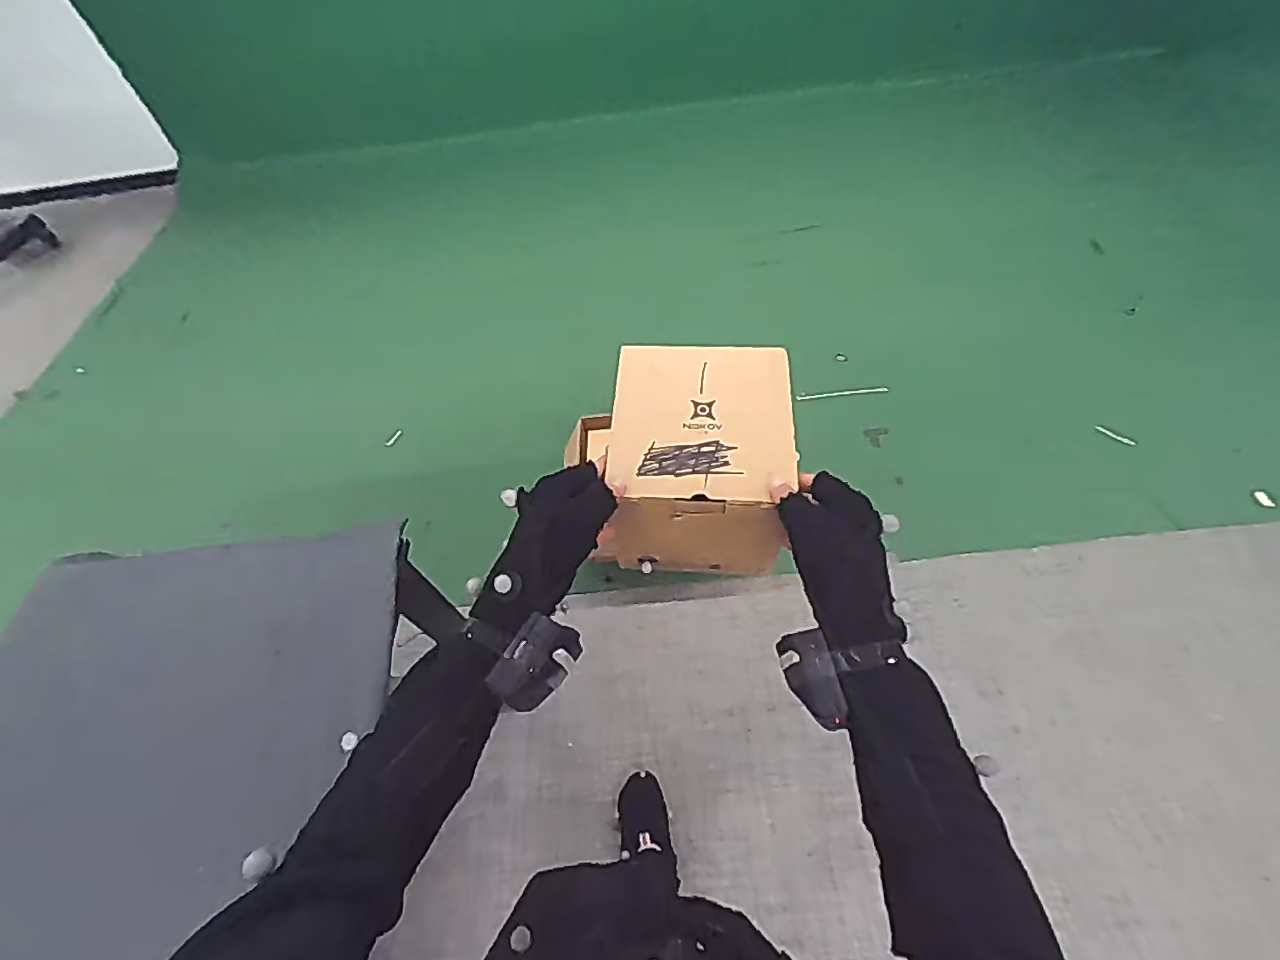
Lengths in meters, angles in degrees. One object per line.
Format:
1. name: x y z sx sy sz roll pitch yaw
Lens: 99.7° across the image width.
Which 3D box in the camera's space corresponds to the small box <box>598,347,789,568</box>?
1. small box: 0.057 -0.017 0.566 0.168 0.176 0.179 2 59 5
